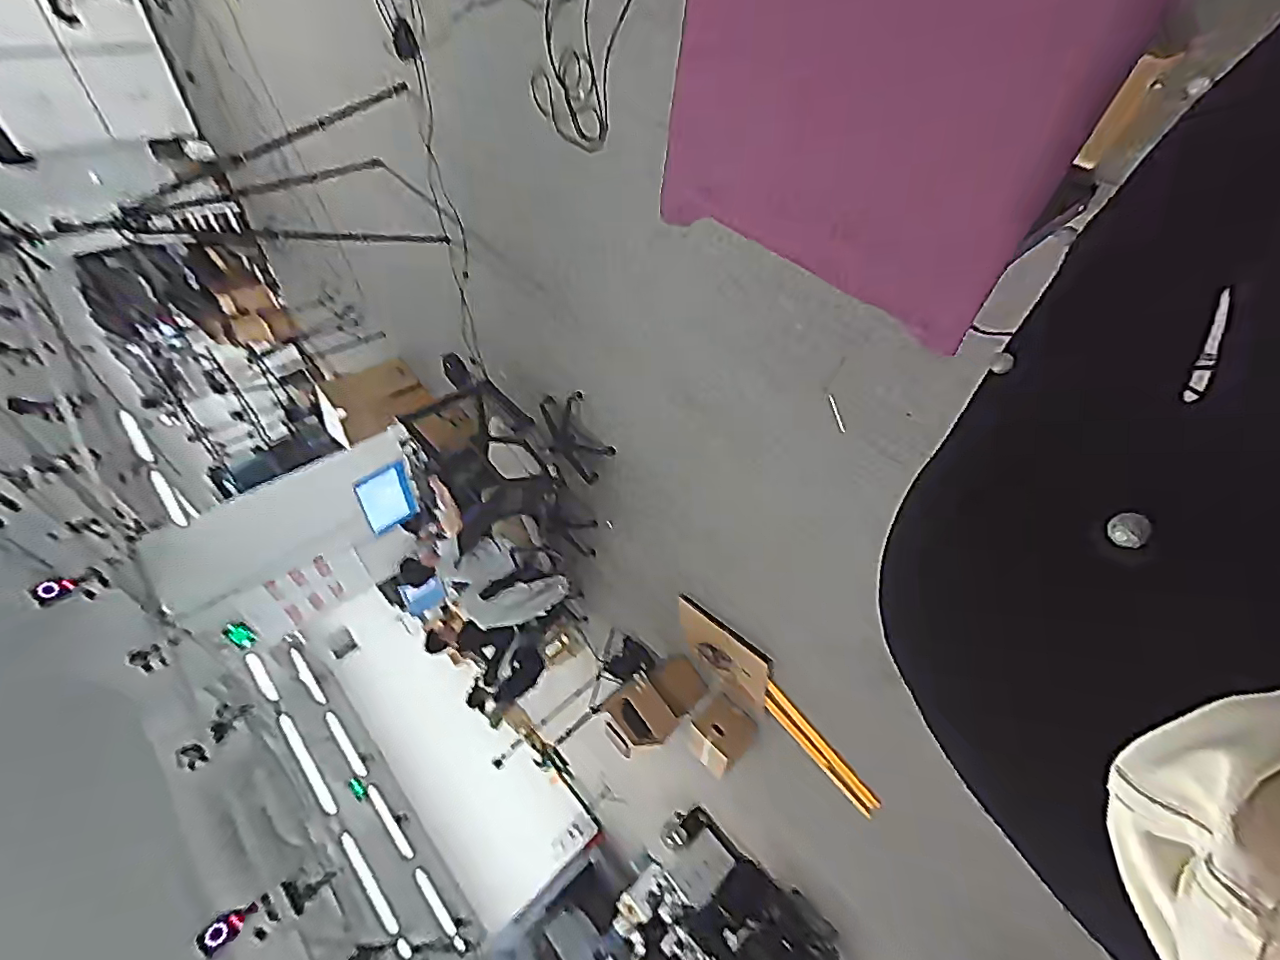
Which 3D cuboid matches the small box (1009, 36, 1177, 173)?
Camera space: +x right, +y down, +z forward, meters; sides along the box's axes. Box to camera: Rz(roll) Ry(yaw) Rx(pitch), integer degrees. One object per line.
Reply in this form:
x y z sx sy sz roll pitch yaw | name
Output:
0.874 -0.729 1.045 0.168 0.176 0.179 41 146 26 | small box
